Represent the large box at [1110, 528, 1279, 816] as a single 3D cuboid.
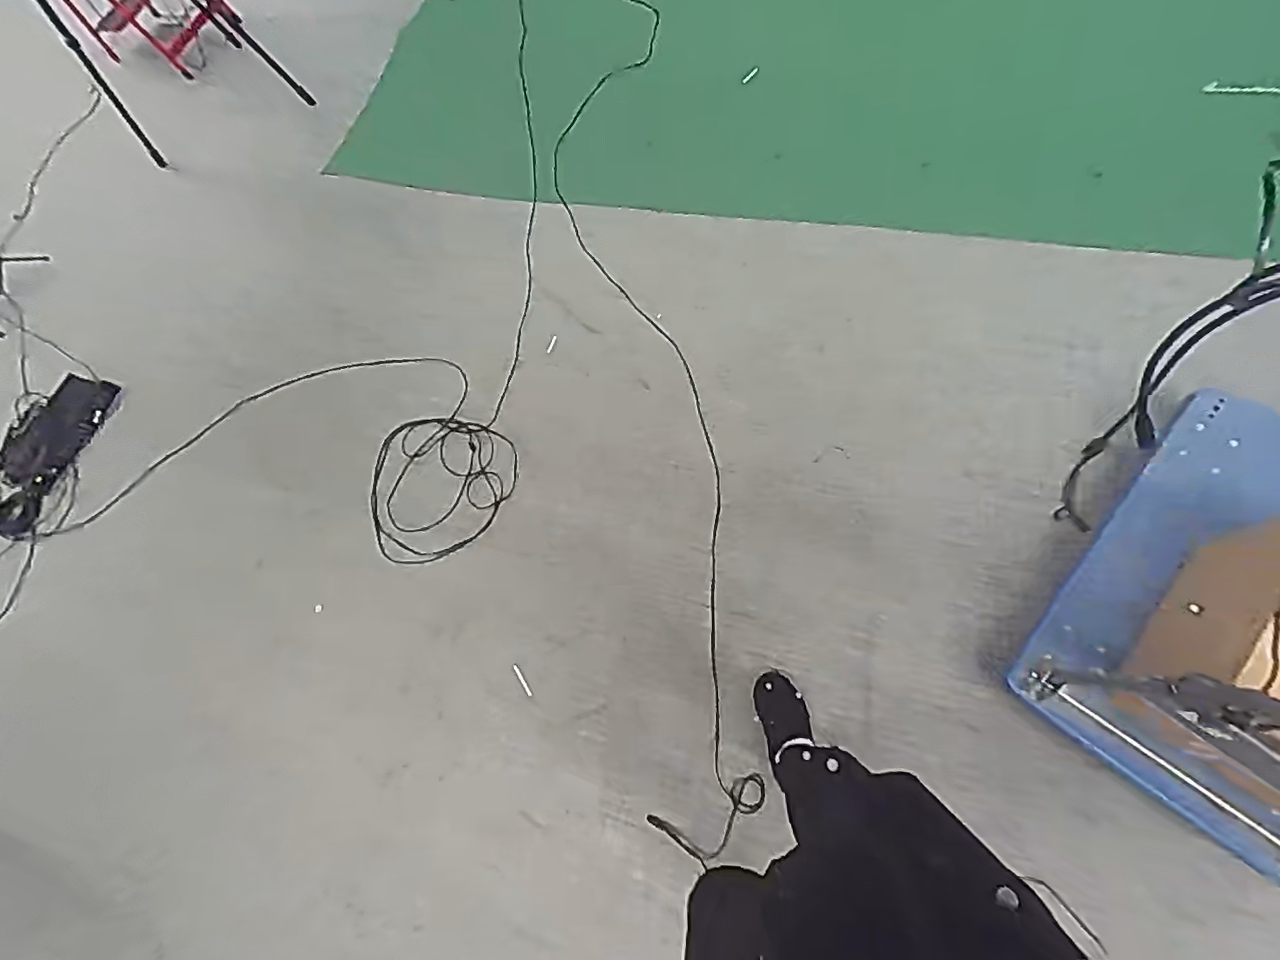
[{"bbox_3d":[1.150,0.336,0.935,0.320,0.320,0.408,37,81,20],"label":"large box"}]
